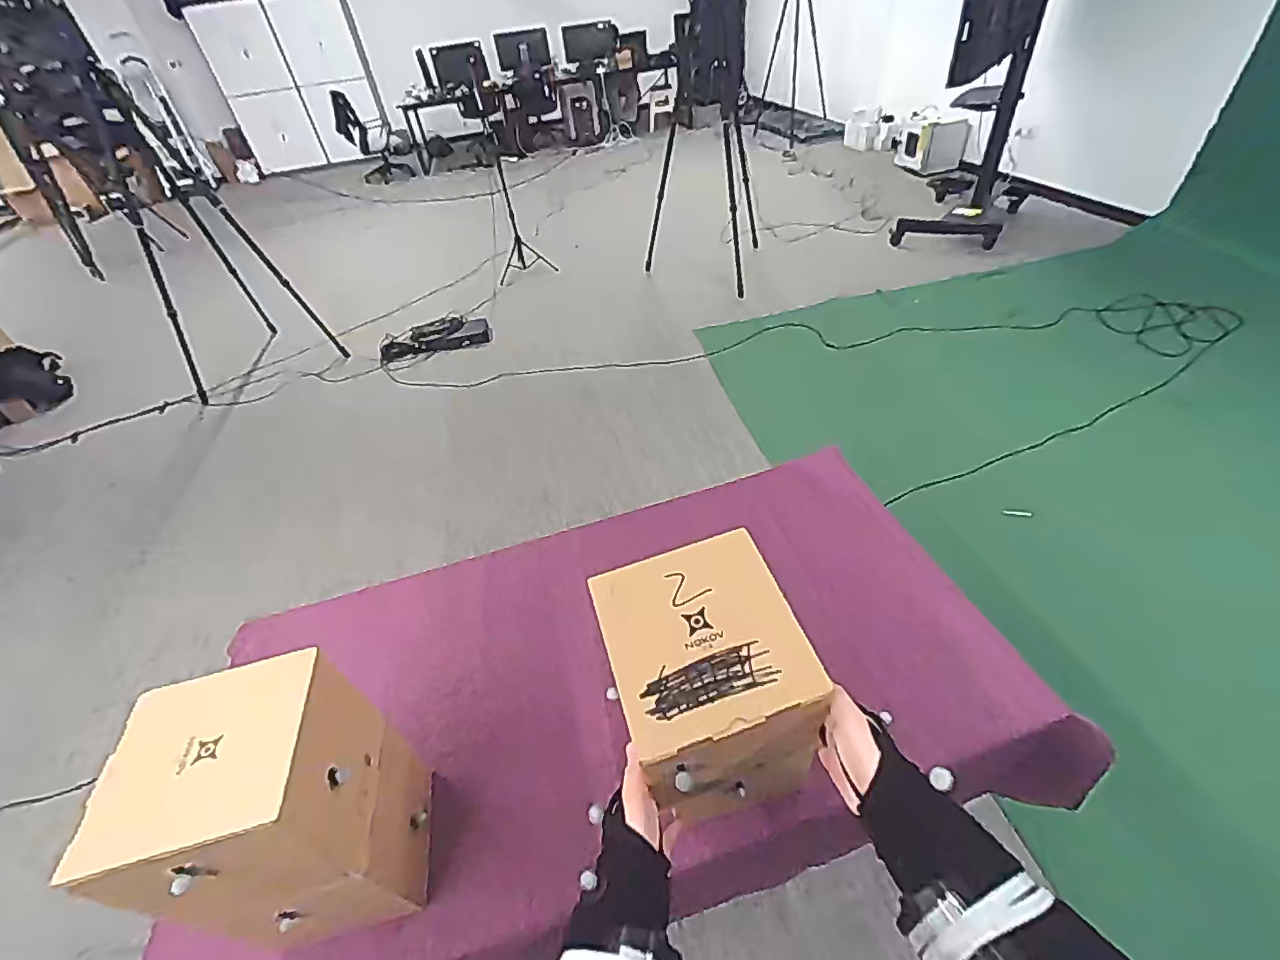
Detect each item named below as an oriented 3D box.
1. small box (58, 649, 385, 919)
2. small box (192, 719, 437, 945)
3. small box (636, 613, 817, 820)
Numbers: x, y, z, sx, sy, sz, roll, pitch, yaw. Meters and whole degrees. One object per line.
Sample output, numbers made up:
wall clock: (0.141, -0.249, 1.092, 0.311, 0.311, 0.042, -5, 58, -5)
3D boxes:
small box: (-0.380, 0.302, 0.540, 0.179, 0.176, 0.168, -15, 43, -5)
small box: (-0.365, 0.423, 0.649, 0.179, 0.176, 0.168, -14, 43, -5)
small box: (0.104, 0.305, 0.697, 0.179, 0.176, 0.168, -15, 43, -5)
